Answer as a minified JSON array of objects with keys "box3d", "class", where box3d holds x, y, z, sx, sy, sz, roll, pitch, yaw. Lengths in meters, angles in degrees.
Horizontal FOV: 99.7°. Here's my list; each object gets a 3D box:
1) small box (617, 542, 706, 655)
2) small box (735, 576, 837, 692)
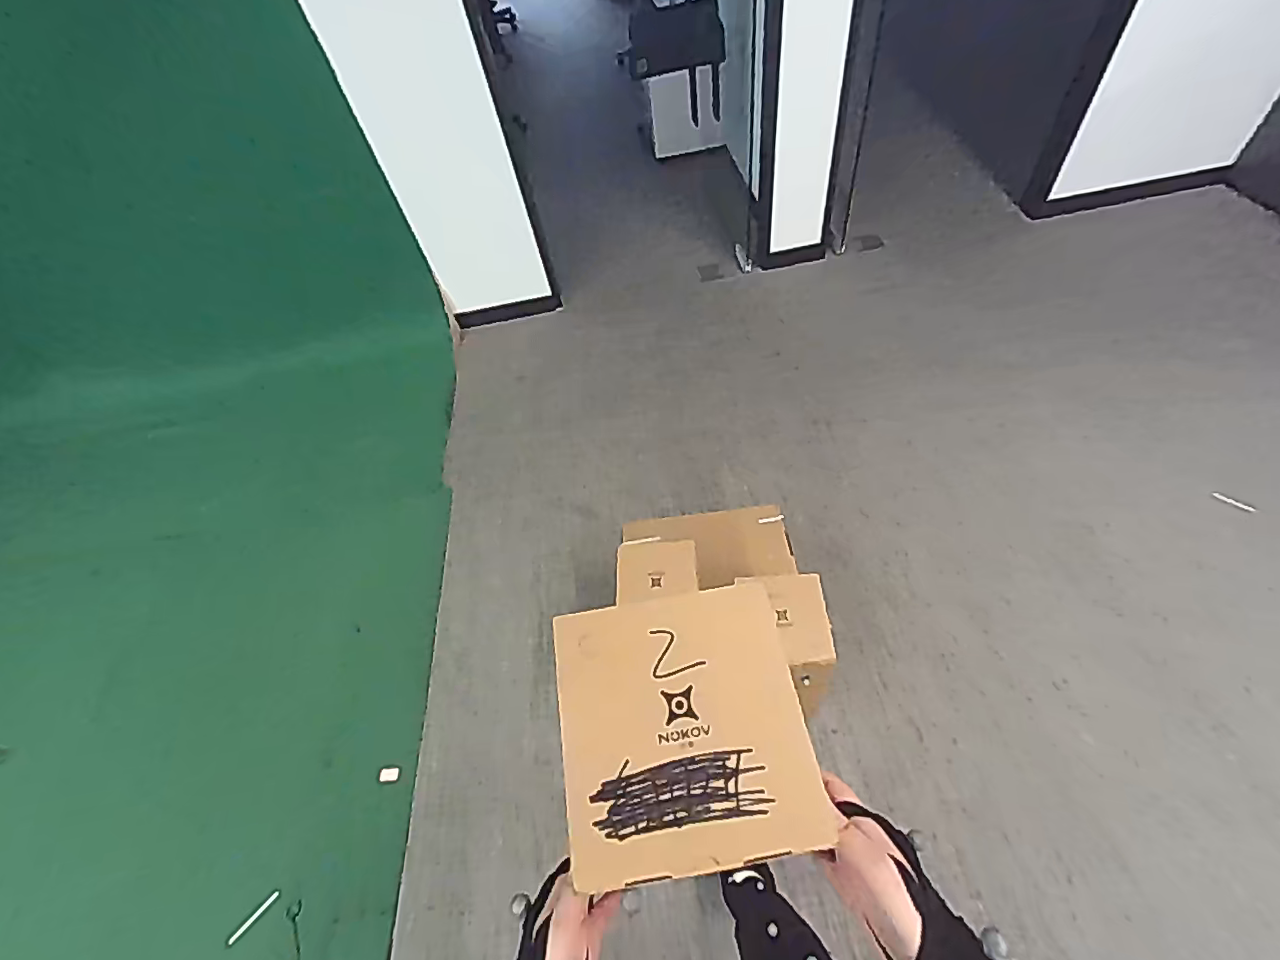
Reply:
[{"box3d":[0.049,0.253,1.147,0.168,0.176,0.179,-6,51,7],"class":"small box"},{"box3d":[0.276,0.308,1.062,0.168,0.176,0.179,-3,52,6],"class":"small box"}]
